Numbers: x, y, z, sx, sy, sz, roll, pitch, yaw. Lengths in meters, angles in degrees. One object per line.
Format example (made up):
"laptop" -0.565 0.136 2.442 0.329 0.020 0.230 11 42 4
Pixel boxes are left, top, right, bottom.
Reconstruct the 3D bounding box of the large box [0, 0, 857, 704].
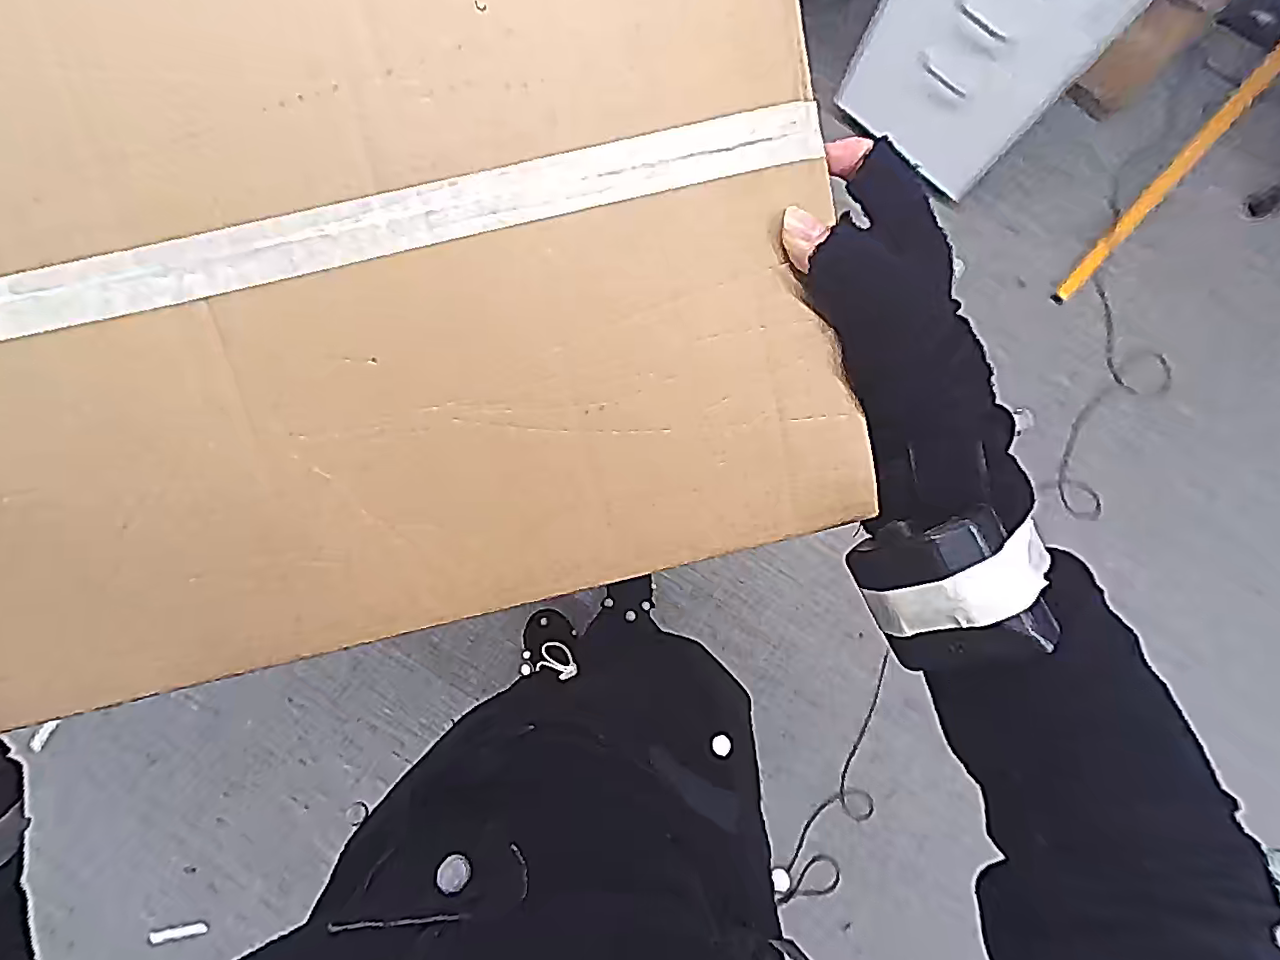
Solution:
"large box" -0.131 -0.115 0.362 0.408 0.320 0.320 -12 99 -2
